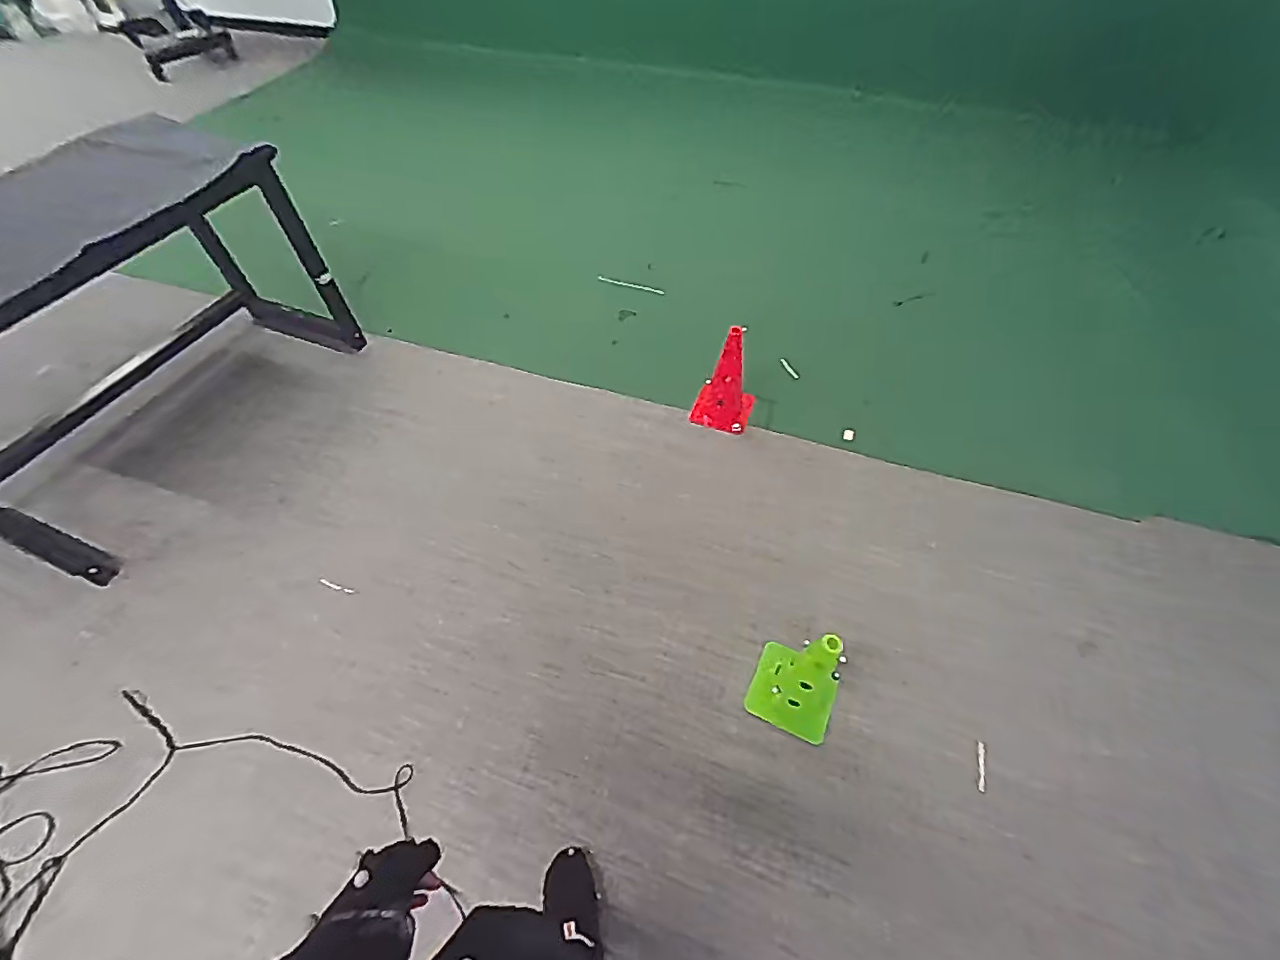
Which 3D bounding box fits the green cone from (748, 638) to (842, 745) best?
[{"bbox_3d":[0.393,0.441,1.246,0.200,0.368,0.202,21,56,16],"label":"green cone"}]
